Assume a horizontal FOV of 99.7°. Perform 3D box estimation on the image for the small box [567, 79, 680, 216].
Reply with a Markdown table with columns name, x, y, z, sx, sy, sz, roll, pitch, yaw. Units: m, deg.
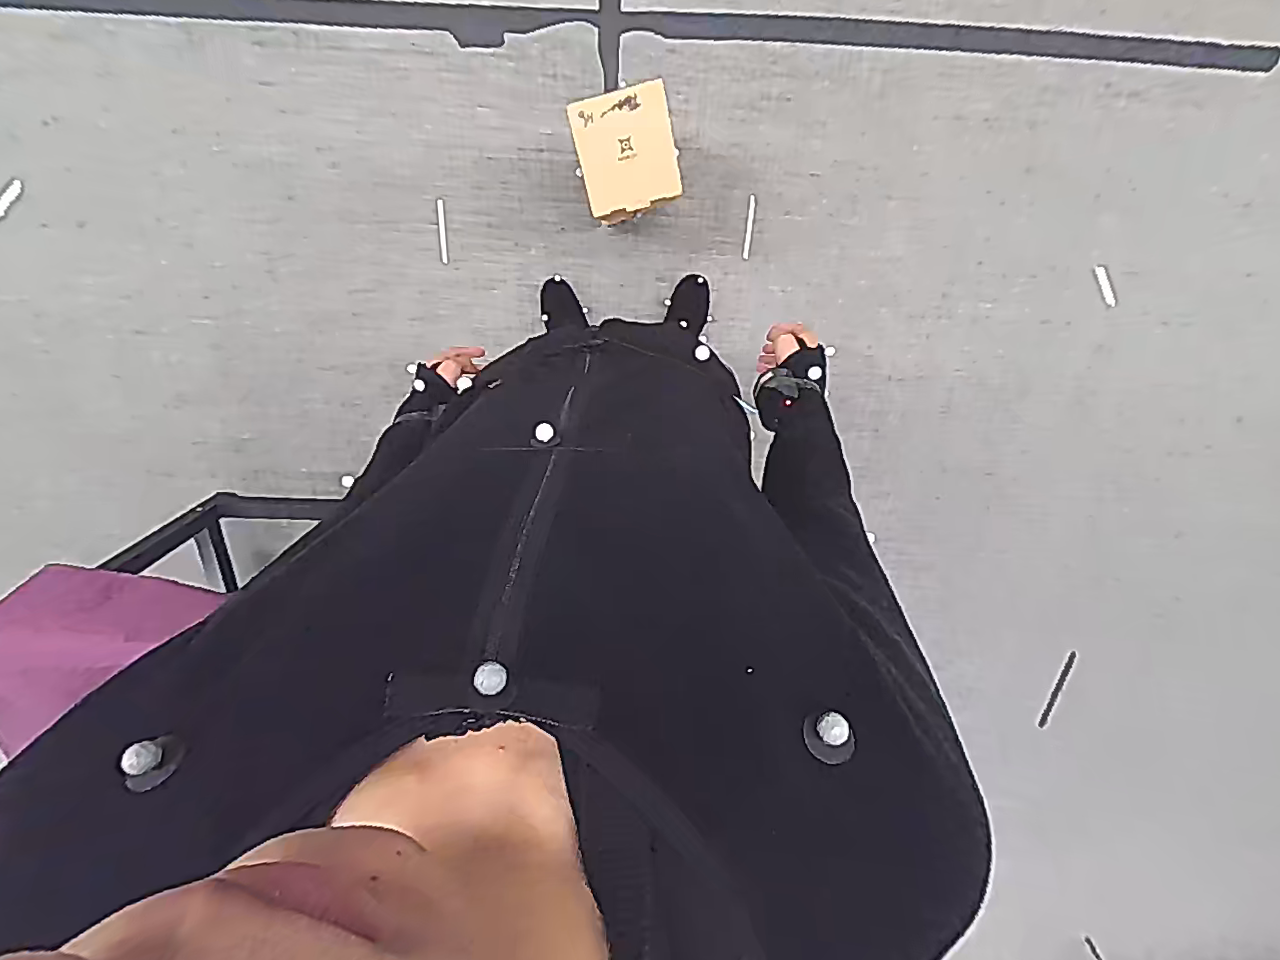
| name | x | y | z | sx | sy | sz | roll | pitch | yaw |
| --- | --- | --- | --- | --- | --- | --- | --- | --- | --- |
| small box | -0.026 | -0.600 | 0.995 | 0.168 | 0.176 | 0.179 | -13 | 115 | 4 |
